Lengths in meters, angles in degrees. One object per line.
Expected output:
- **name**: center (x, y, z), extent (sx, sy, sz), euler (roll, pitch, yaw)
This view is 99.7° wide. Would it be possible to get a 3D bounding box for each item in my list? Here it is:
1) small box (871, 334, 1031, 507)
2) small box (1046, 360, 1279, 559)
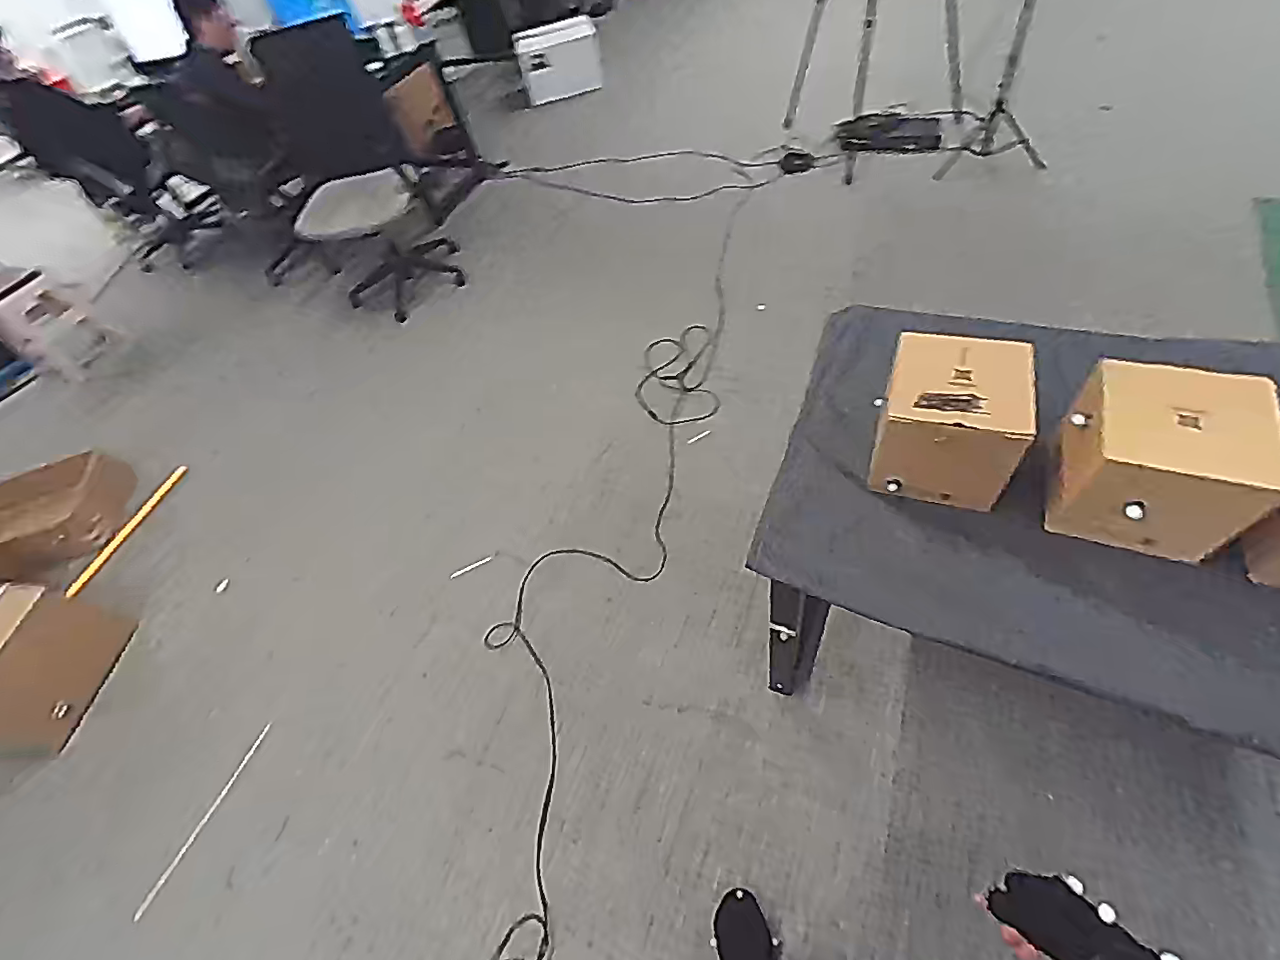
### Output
- **small box**: center (0.441, -0.084, 0.784), extent (0.168, 0.176, 0.179), euler (12, 56, 20)
- **small box**: center (0.650, -0.024, 0.693), extent (0.168, 0.176, 0.179), euler (14, 58, 22)
